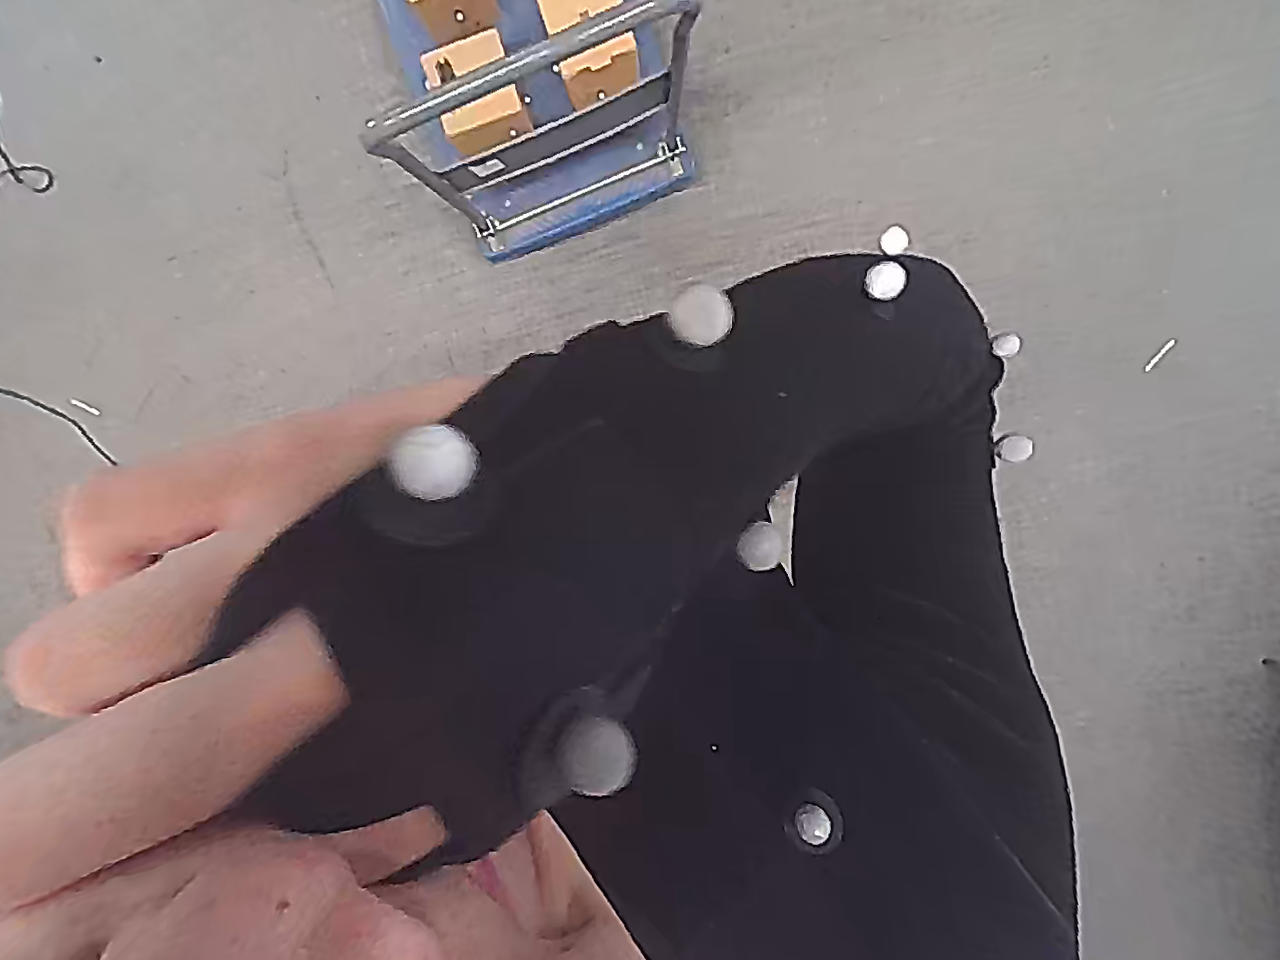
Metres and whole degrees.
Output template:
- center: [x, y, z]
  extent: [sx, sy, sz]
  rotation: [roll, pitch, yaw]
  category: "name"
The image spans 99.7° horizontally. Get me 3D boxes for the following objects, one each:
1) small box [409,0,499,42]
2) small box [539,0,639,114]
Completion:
- center: [-0.431, -1.110, 1.178]
  extent: [0.168, 0.176, 0.179]
  rotation: [-23, 99, 6]
  category: "small box"
- center: [-0.106, -0.961, 1.193]
  extent: [0.168, 0.176, 0.179]
  rotation: [-19, 100, 6]
  category: "small box"
